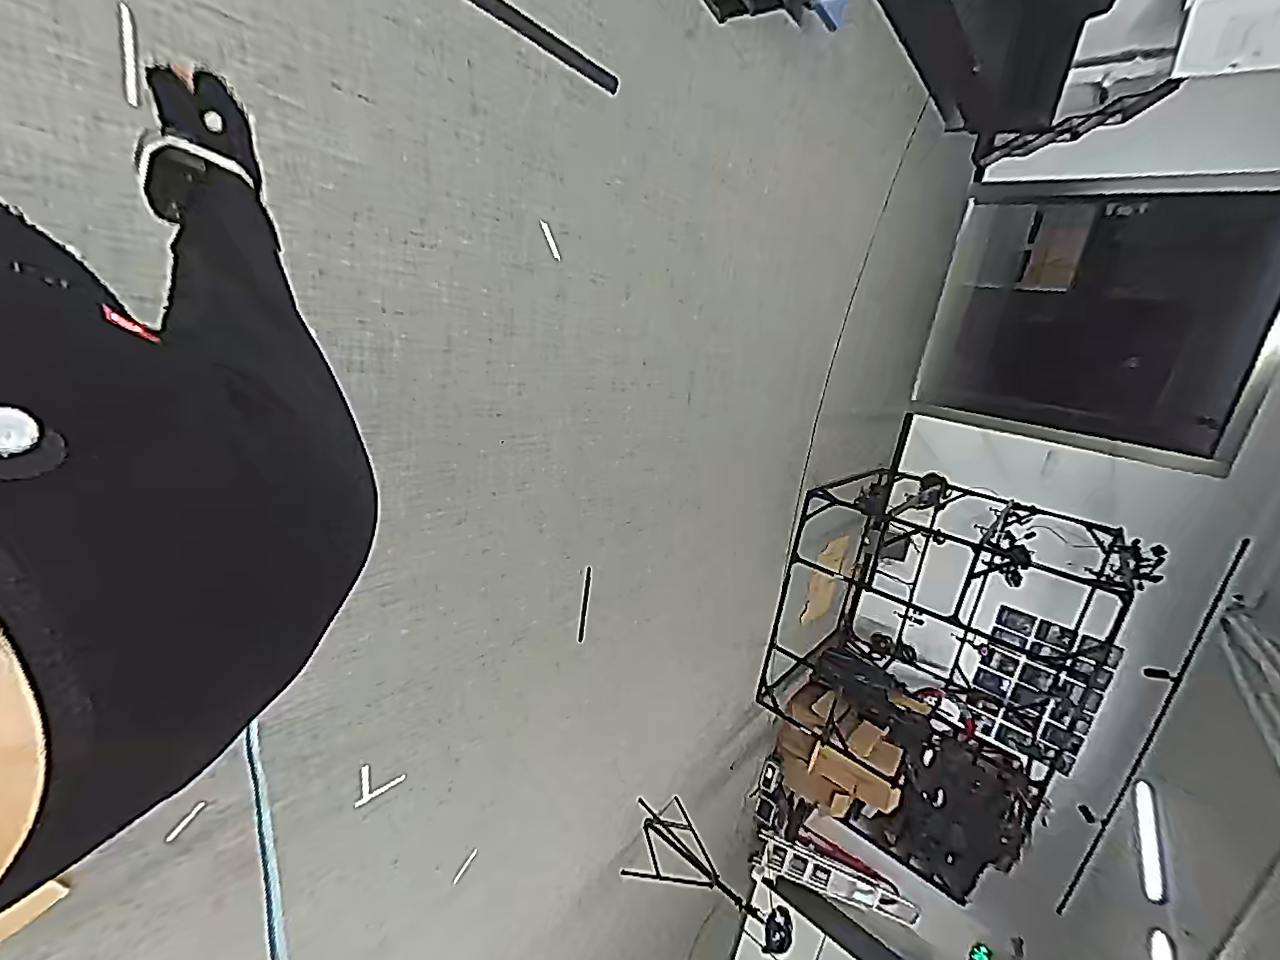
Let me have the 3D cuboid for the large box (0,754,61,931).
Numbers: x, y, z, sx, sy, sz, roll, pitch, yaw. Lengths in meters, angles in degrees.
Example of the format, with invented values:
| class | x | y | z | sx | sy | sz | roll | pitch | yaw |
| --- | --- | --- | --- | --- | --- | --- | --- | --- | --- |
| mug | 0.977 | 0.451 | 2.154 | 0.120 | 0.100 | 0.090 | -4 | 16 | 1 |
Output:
| class | x | y | z | sx | sy | sz | roll | pitch | yaw |
| --- | --- | --- | --- | --- | --- | --- | --- | --- | --- |
| large box | -1.333 | 0.684 | 0.896 | 0.408 | 0.320 | 0.320 | -36 | 134 | -36 |
